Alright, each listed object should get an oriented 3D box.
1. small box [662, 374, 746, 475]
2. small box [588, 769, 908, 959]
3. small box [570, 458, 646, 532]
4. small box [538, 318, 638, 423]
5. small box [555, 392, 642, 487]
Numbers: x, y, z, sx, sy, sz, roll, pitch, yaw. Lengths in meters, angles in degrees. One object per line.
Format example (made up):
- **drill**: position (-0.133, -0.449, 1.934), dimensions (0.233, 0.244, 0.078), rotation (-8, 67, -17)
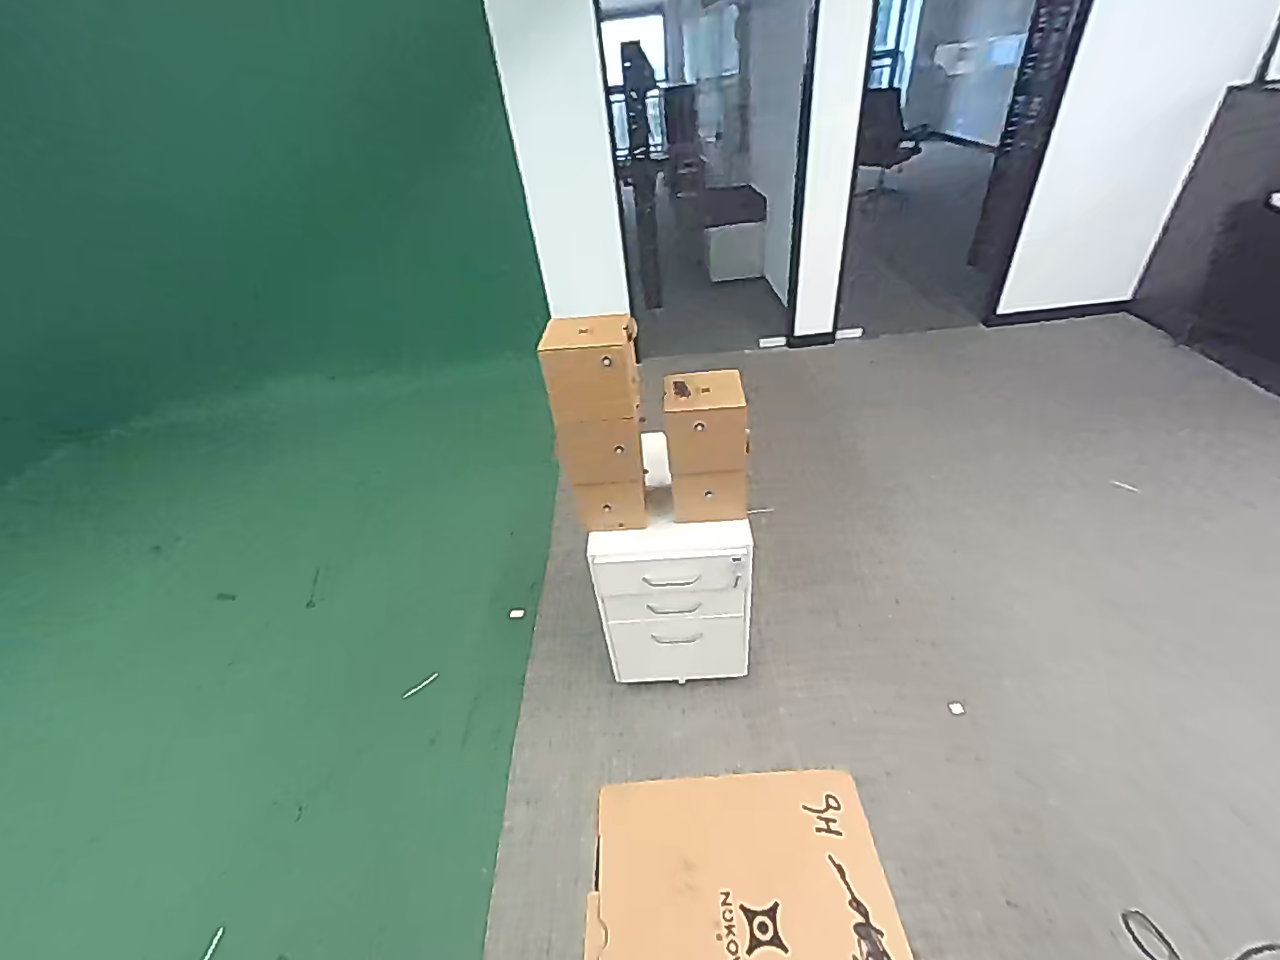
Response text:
- **small box**: position (0.147, -0.124, 1.239), dimensions (0.179, 0.176, 0.168), rotation (-4, 38, 6)
- **small box**: position (0.062, 0.316, 0.354), dimensions (0.179, 0.176, 0.168), rotation (-3, 36, 1)
- **small box**: position (-0.073, 0.018, 1.359), dimensions (0.168, 0.176, 0.179), rotation (-2, 38, 3)
- **small box**: position (-0.102, -0.231, 1.152), dimensions (0.179, 0.176, 0.168), rotation (-2, 37, 4)
- **small box**: position (-0.086, -0.099, 1.247), dimensions (0.179, 0.176, 0.168), rotation (-4, 37, 3)
